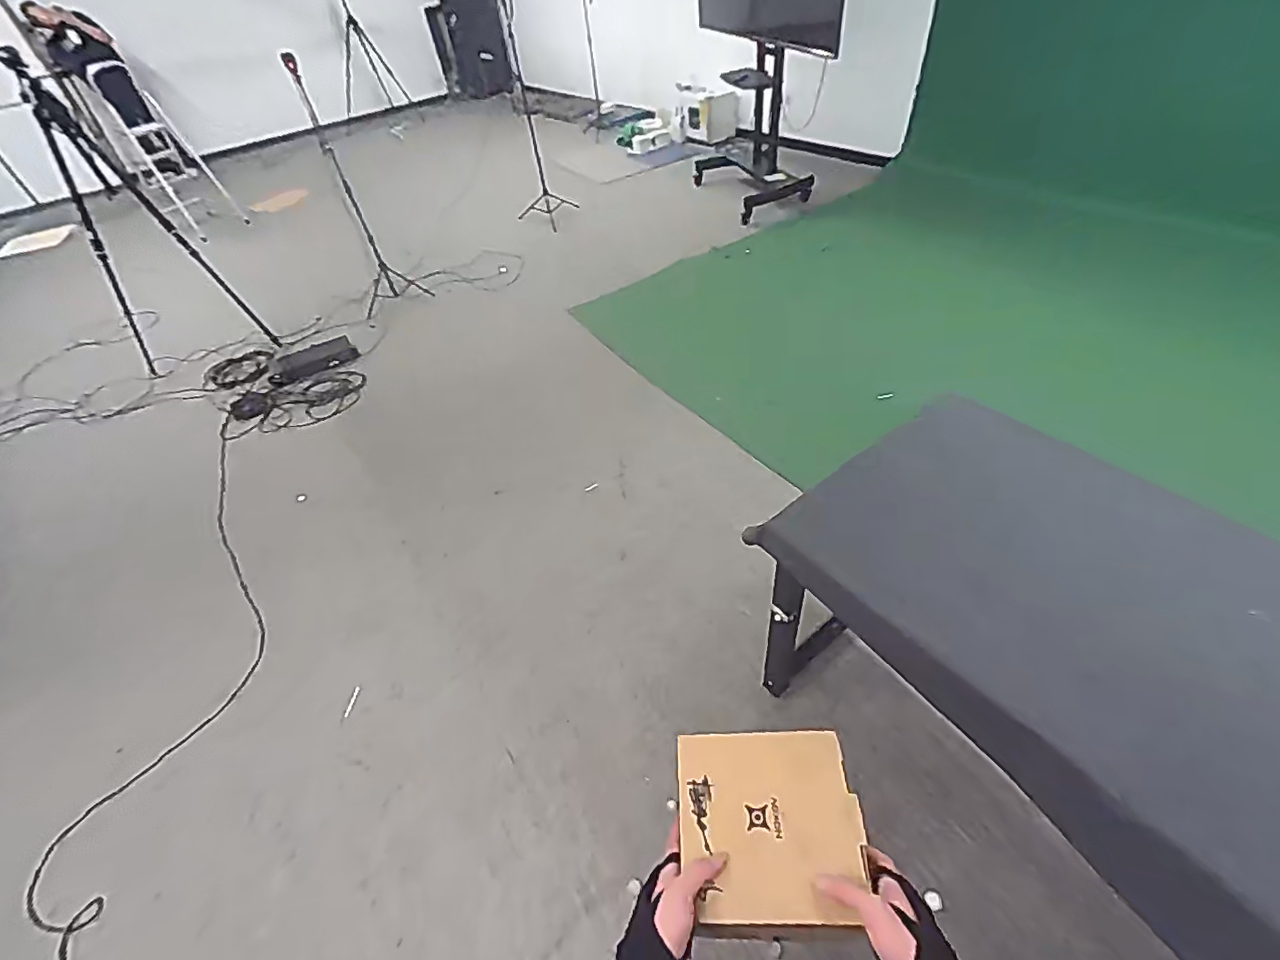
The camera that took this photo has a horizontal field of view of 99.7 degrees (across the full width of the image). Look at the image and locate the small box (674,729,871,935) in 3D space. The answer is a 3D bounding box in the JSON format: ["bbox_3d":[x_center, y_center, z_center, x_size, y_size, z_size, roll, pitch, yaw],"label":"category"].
[{"bbox_3d":[0.130,0.386,0.594,0.179,0.176,0.168,-4,47,7],"label":"small box"}]
